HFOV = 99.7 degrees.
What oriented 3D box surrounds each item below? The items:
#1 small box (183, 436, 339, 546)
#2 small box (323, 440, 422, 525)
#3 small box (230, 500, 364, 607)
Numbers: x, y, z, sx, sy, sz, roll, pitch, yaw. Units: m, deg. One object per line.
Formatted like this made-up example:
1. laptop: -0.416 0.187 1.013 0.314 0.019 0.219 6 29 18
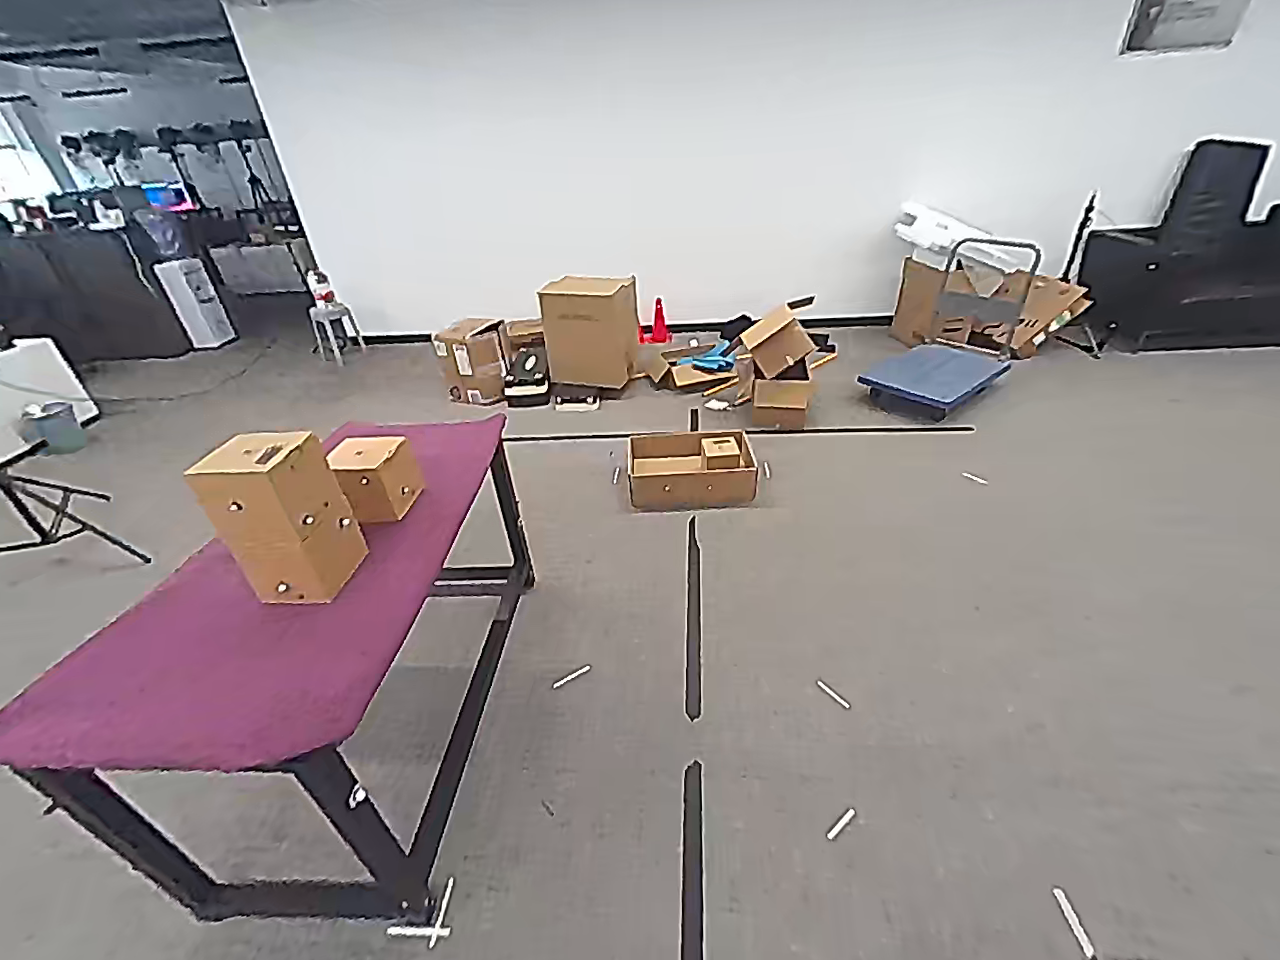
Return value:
1. small box: -0.767 0.023 1.119 0.179 0.176 0.168 -2 32 5
2. small box: -0.715 0.009 1.442 0.179 0.176 0.168 -1 33 6
3. small box: -0.748 0.161 1.207 0.168 0.176 0.179 -1 33 6
